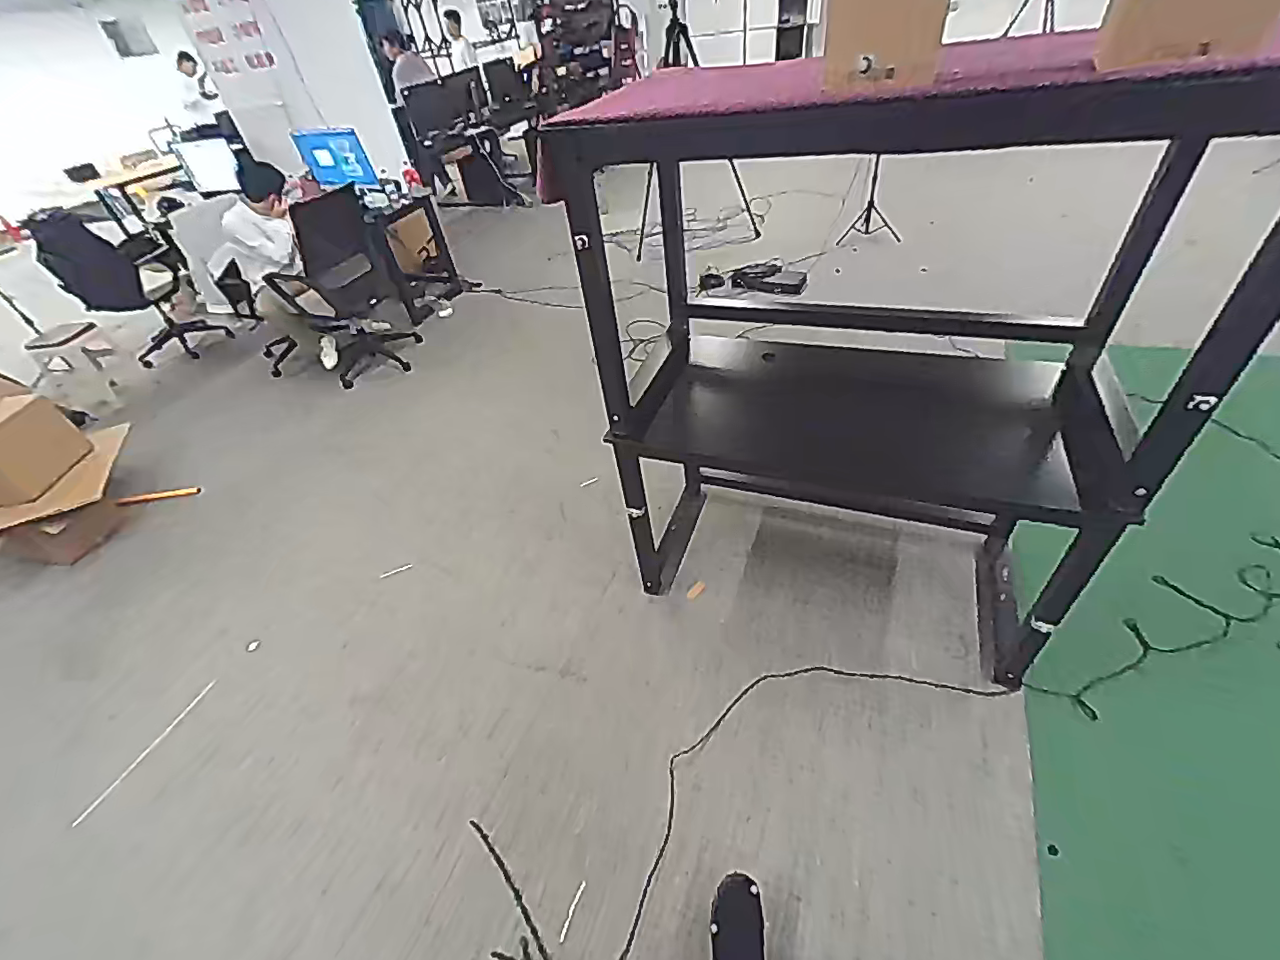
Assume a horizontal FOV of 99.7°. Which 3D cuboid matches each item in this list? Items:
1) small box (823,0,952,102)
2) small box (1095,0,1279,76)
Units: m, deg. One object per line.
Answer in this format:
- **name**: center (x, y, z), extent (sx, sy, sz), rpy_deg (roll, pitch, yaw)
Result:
- **small box**: center (0.396, -0.717, 0.861), extent (0.168, 0.176, 0.179), rpy_deg (12, 45, 24)
- **small box**: center (0.746, -0.660, 0.725), extent (0.168, 0.176, 0.179), rpy_deg (12, 46, 25)
